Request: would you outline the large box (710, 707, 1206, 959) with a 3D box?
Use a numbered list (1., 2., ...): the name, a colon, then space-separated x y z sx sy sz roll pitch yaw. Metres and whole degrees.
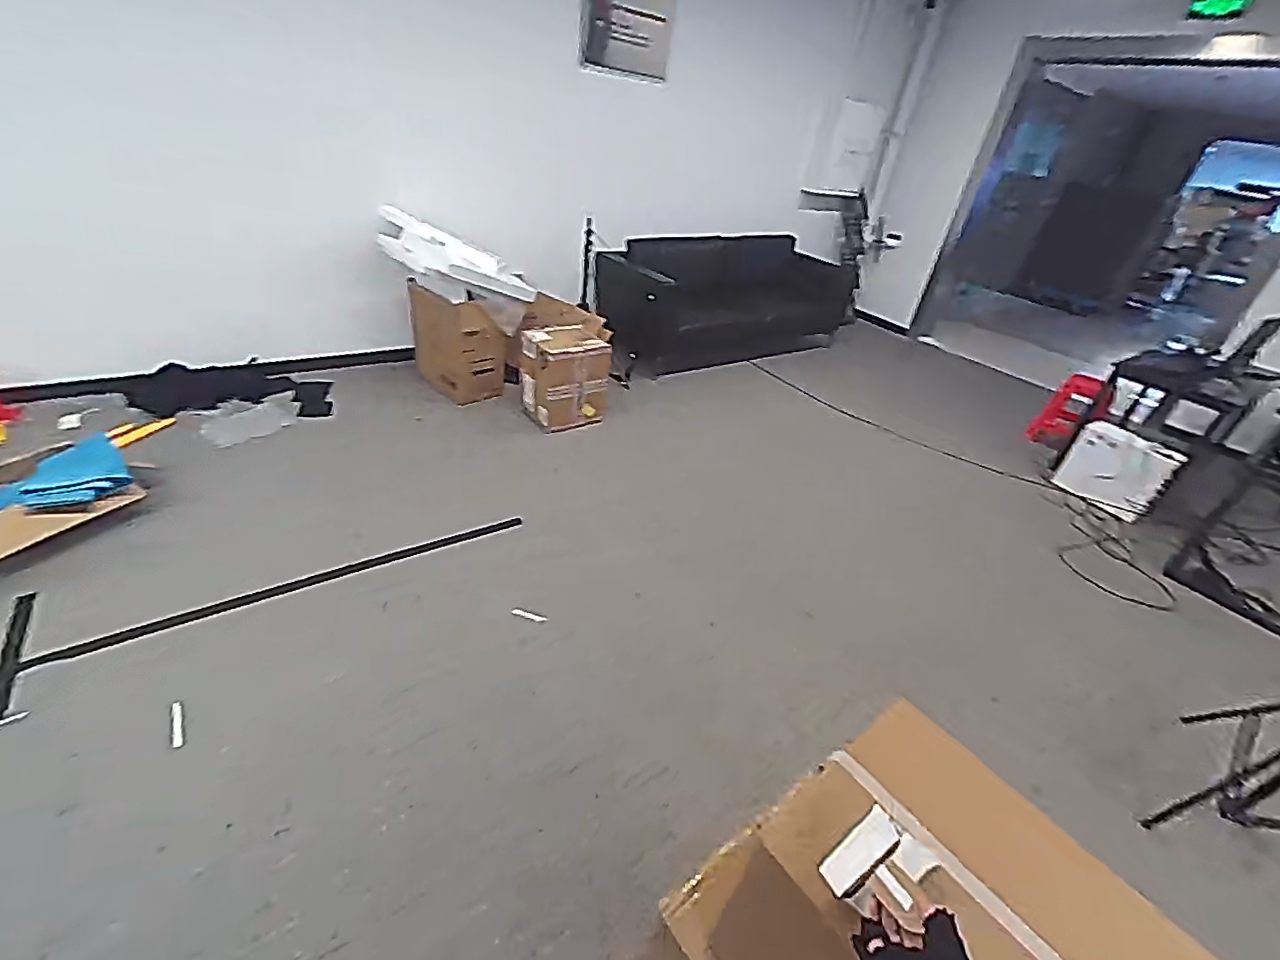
1. large box: 0.352 0.580 0.650 0.320 0.320 0.408 -18 42 -34
